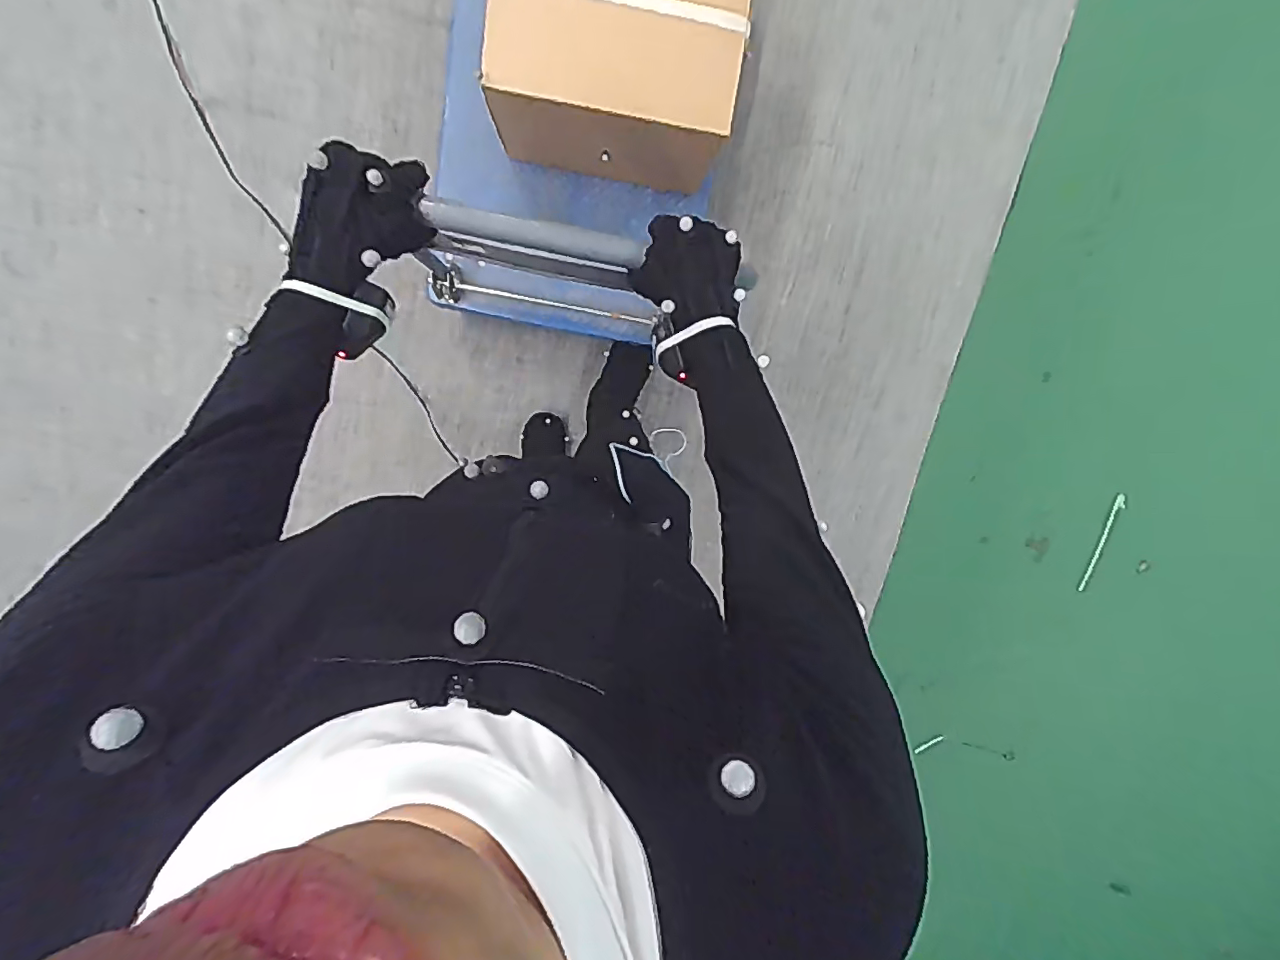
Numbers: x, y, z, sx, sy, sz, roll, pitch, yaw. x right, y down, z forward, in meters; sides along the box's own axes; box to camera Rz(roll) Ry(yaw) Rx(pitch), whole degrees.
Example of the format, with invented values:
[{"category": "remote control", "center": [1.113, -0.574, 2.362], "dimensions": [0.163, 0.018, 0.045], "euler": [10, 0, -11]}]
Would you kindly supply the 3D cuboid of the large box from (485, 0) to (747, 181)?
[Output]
[{"category": "large box", "center": [-0.038, -0.783, 0.987], "dimensions": [0.408, 0.320, 0.320], "euler": [8, 101, -6]}]
